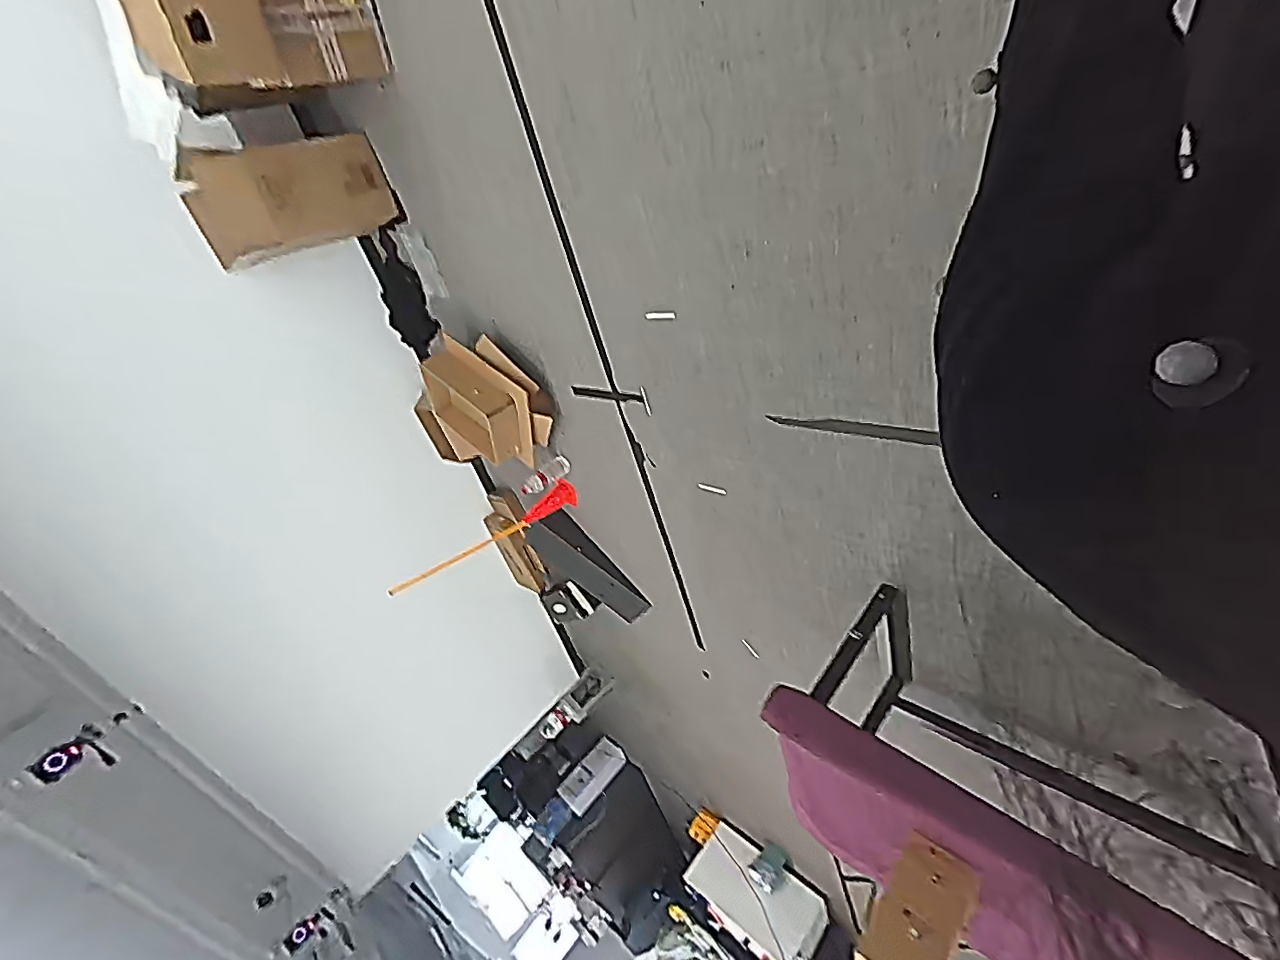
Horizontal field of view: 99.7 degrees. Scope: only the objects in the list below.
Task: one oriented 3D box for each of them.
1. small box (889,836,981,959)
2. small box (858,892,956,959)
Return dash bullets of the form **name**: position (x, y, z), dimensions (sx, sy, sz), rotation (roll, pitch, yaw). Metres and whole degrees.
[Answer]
- **small box**: position (0.751, 1.064, 1.383), dimensions (0.168, 0.176, 0.179), rotation (18, 136, 42)
- **small box**: position (0.642, 1.154, 1.301), dimensions (0.168, 0.176, 0.179), rotation (17, 134, 41)
